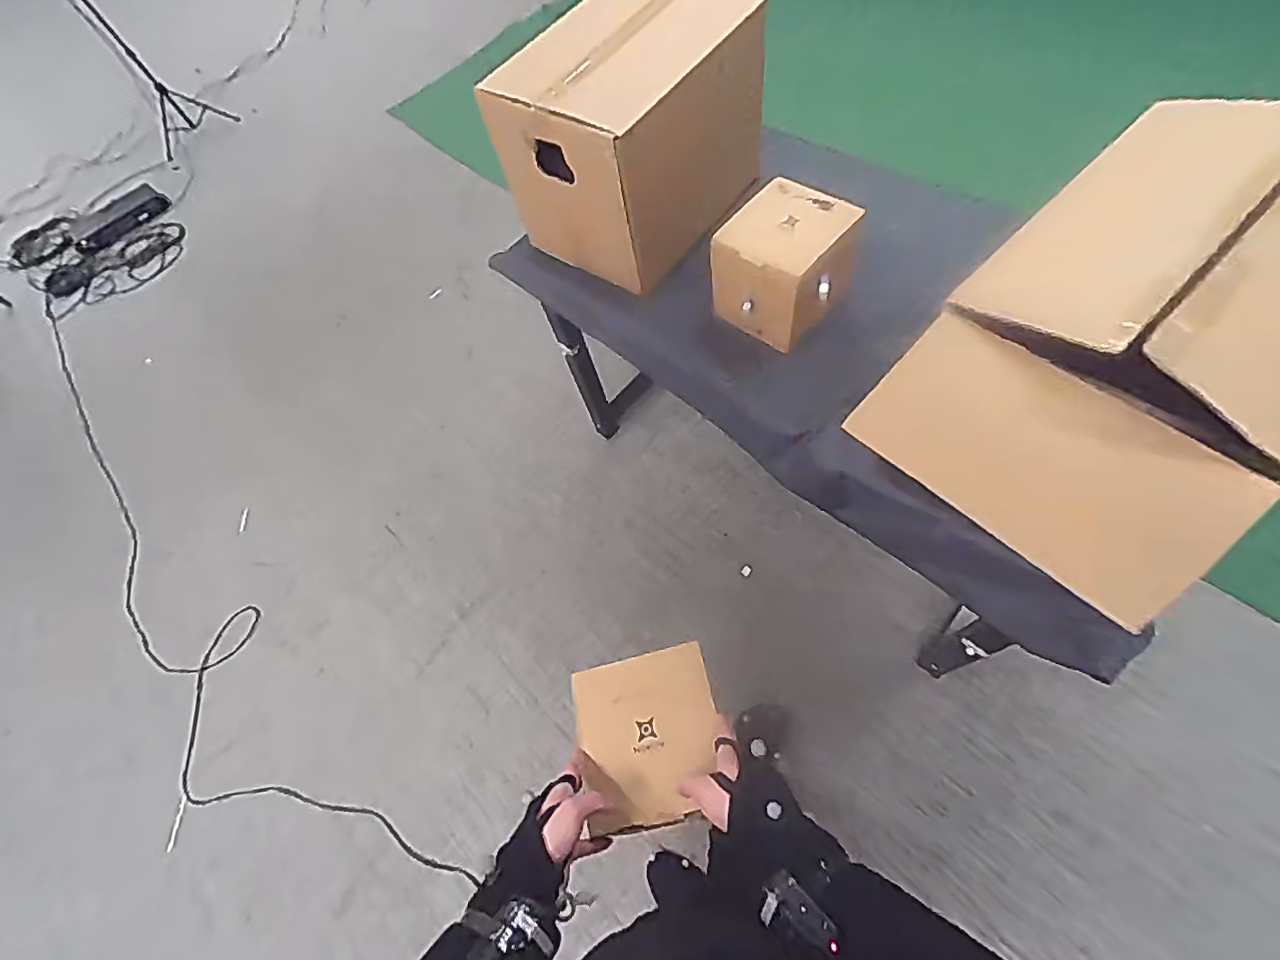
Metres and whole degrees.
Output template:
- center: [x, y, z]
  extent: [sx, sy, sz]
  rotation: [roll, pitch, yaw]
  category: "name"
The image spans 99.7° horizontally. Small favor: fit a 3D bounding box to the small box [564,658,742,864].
- center: [0.021, 0.341, 0.660]
  extent: [0.168, 0.176, 0.179]
  rotation: [-17, 56, 3]
  category: "small box"
